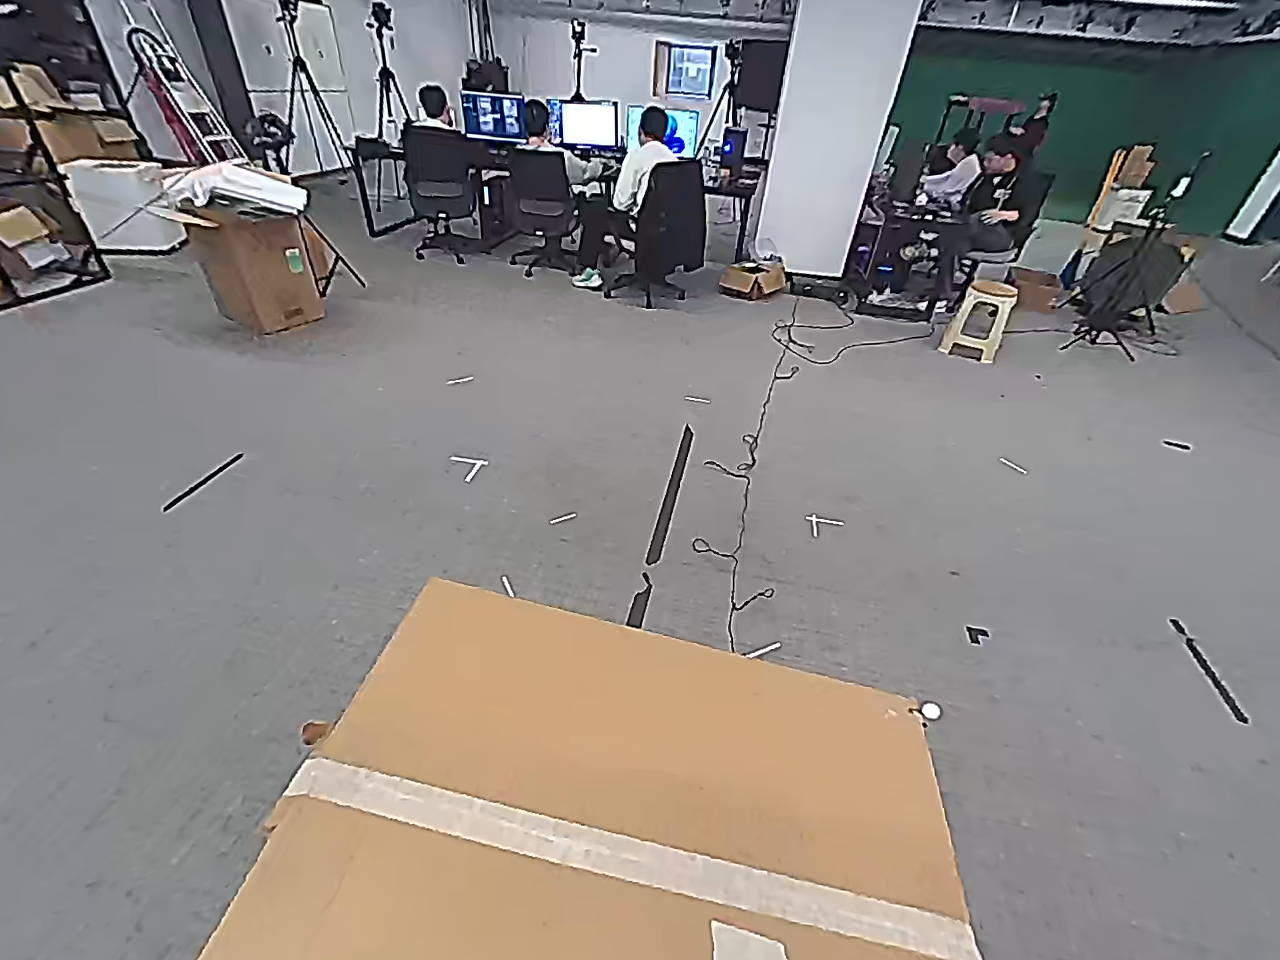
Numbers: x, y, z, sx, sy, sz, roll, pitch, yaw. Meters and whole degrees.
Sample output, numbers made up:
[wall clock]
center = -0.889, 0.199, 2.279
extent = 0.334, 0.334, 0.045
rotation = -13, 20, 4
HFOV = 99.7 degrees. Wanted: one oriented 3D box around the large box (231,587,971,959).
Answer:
[large box]
center = -0.024, 0.339, 0.424
extent = 0.408, 0.320, 0.320
rotation = 15, 41, 1
